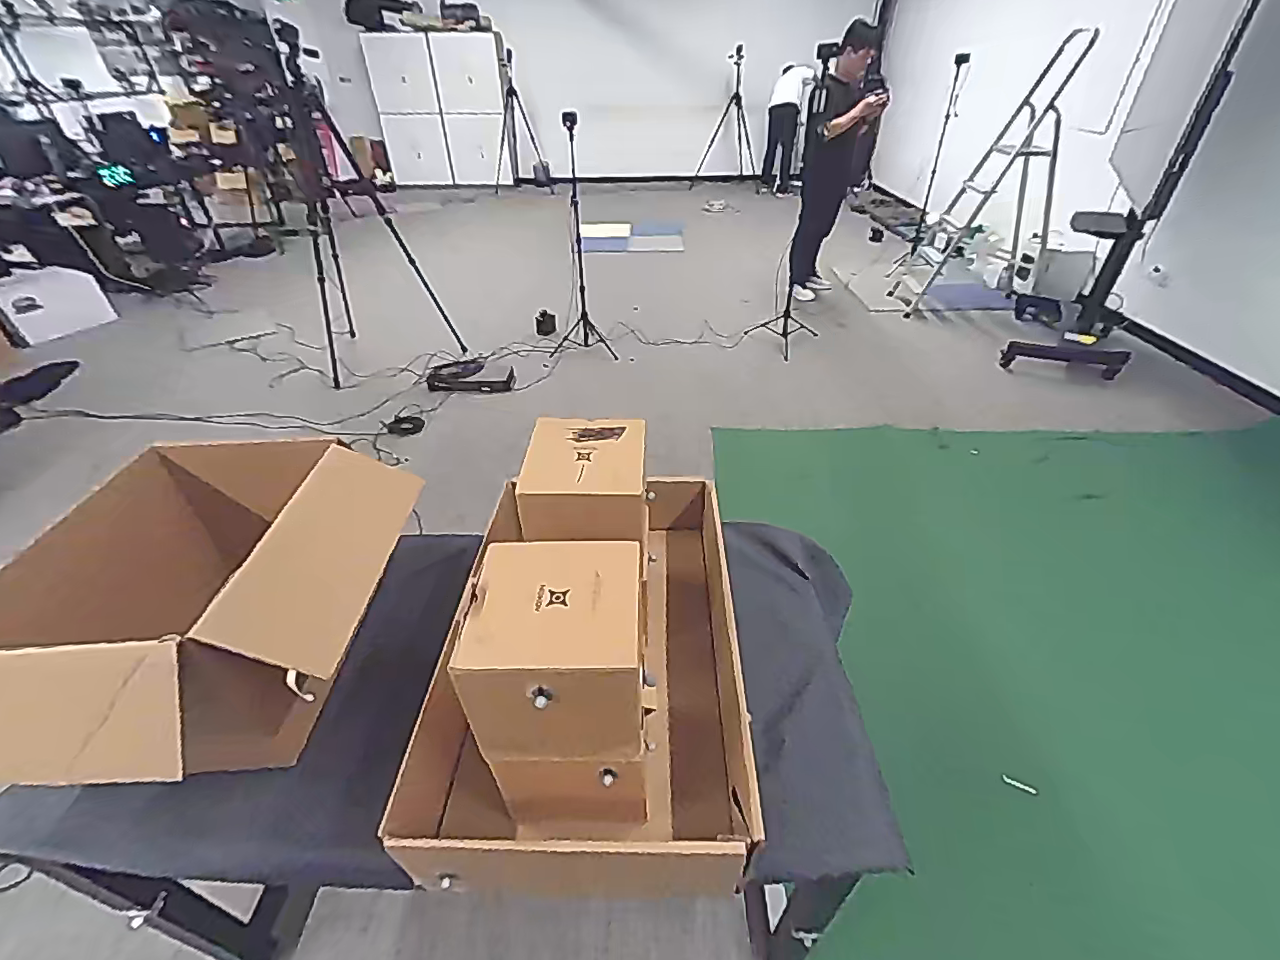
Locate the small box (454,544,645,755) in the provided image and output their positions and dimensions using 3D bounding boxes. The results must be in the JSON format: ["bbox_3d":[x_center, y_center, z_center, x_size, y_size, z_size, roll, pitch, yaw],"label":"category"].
[{"bbox_3d":[-0.084,0.189,0.607,0.179,0.176,0.168,0,38,1],"label":"small box"}]

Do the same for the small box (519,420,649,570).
[{"bbox_3d":[-0.073,0.029,0.806,0.168,0.176,0.179,1,41,2],"label":"small box"}]
